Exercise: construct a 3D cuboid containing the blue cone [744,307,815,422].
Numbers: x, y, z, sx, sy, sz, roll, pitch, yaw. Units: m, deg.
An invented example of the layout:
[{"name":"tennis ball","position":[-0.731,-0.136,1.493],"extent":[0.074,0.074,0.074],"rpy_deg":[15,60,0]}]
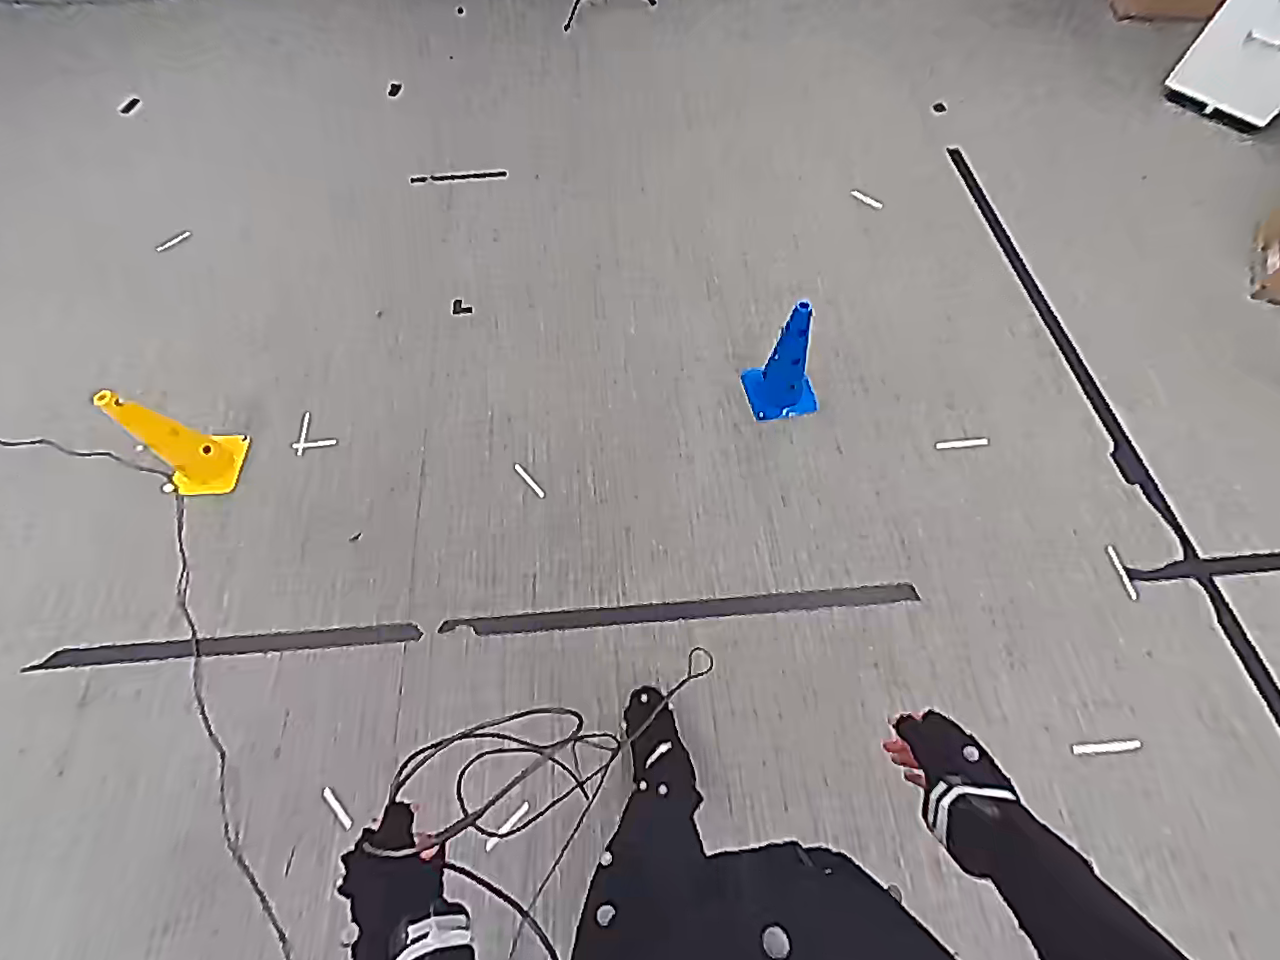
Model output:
[{"name":"blue cone","position":[0.419,-0.344,1.520],"extent":[0.193,0.380,0.192],"rpy_deg":[-10,63,-2]}]
